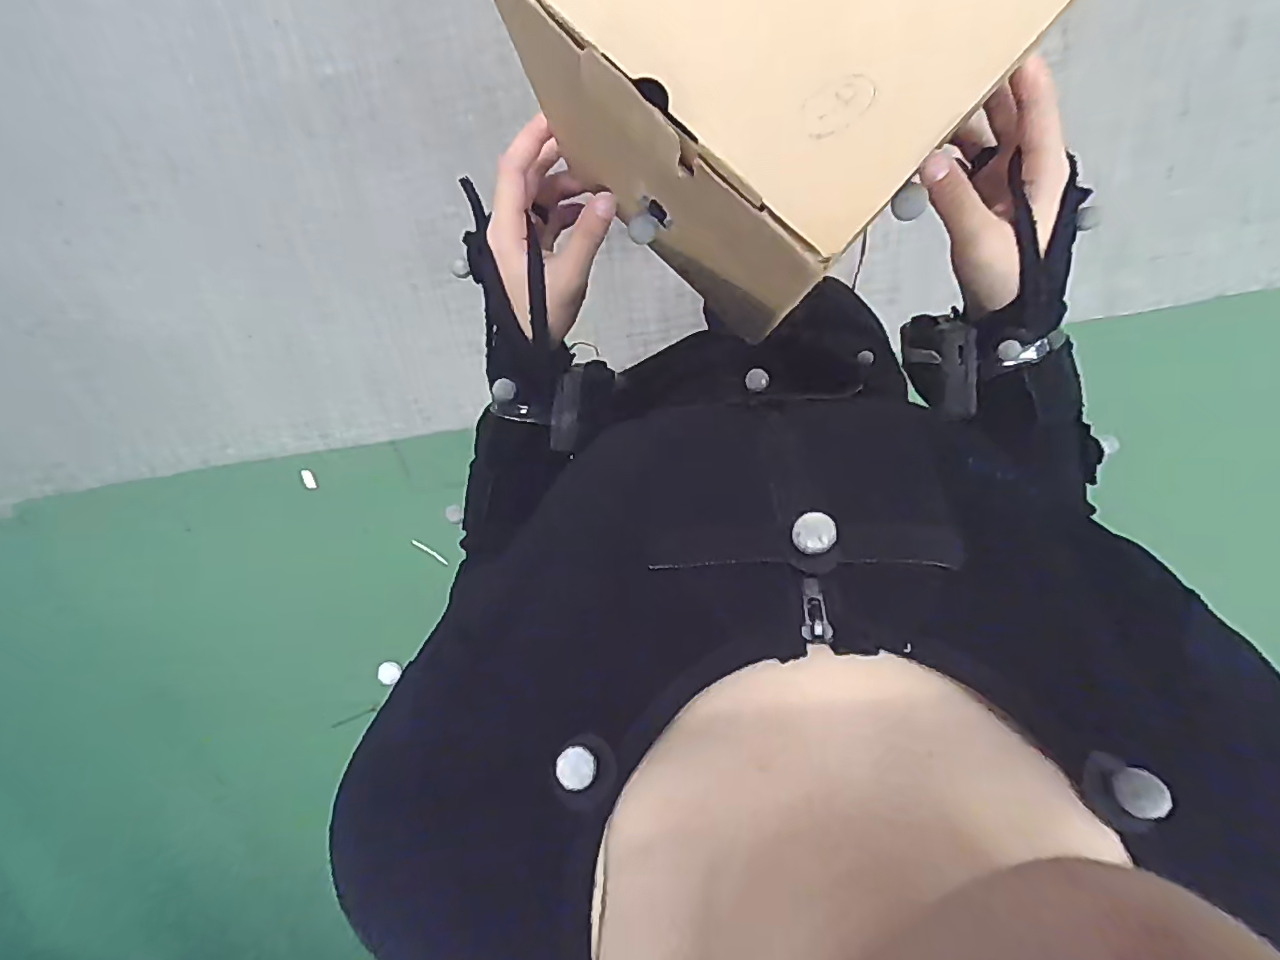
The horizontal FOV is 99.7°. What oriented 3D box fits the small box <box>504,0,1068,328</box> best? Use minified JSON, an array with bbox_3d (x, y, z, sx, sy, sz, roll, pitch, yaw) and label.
[{"bbox_3d":[0.070,-0.200,0.264,0.168,0.176,0.179,43,97,0],"label":"small box"}]
